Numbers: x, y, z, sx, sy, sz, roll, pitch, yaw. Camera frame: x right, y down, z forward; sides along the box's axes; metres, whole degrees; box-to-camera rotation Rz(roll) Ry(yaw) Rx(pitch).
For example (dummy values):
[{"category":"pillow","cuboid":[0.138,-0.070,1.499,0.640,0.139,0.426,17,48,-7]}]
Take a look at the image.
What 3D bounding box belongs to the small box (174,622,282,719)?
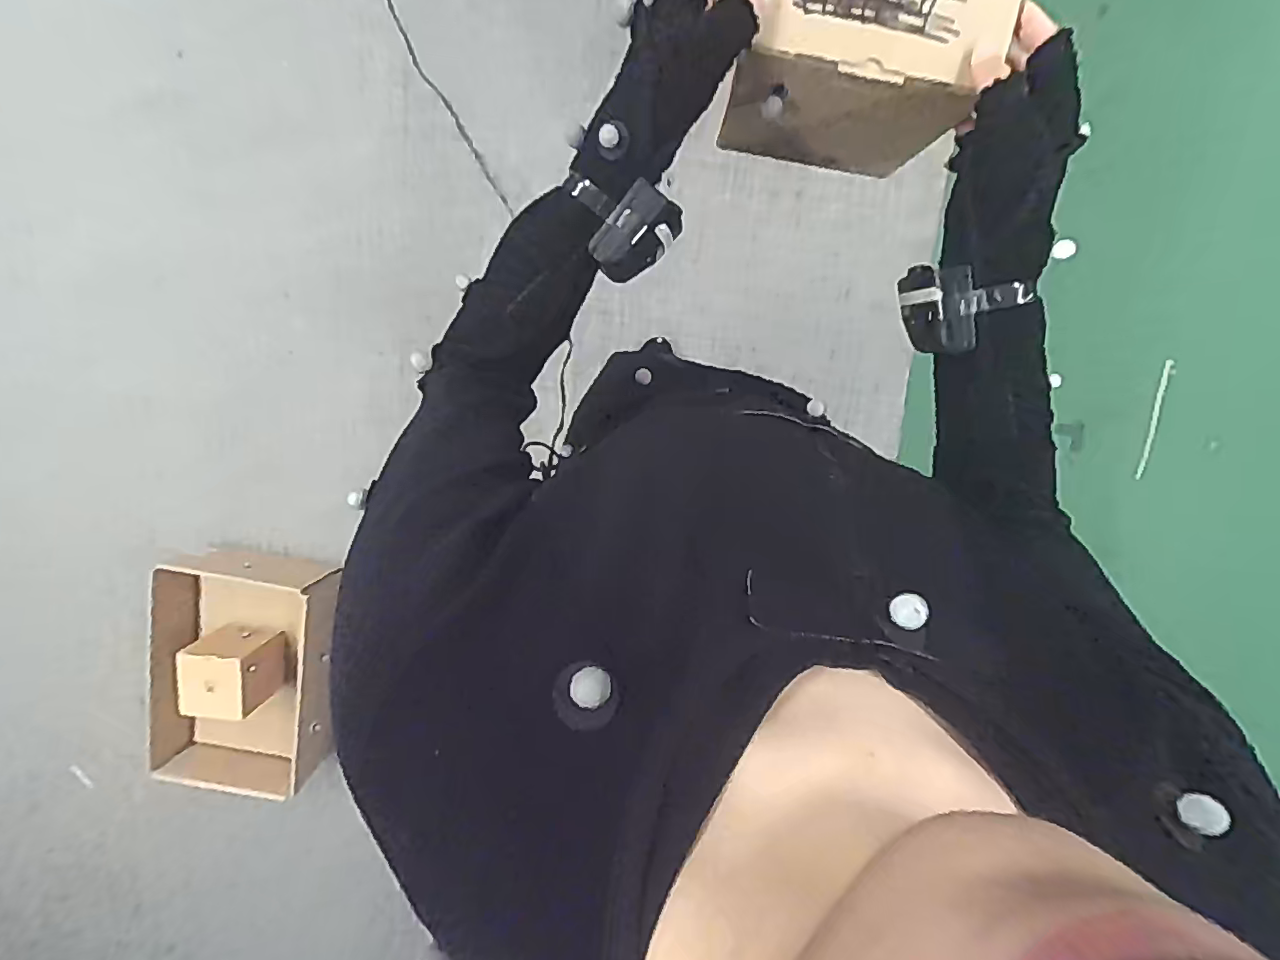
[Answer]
[{"category":"small box","cuboid":[-1.088,0.502,1.441,0.168,0.176,0.179,6,100,0]}]
